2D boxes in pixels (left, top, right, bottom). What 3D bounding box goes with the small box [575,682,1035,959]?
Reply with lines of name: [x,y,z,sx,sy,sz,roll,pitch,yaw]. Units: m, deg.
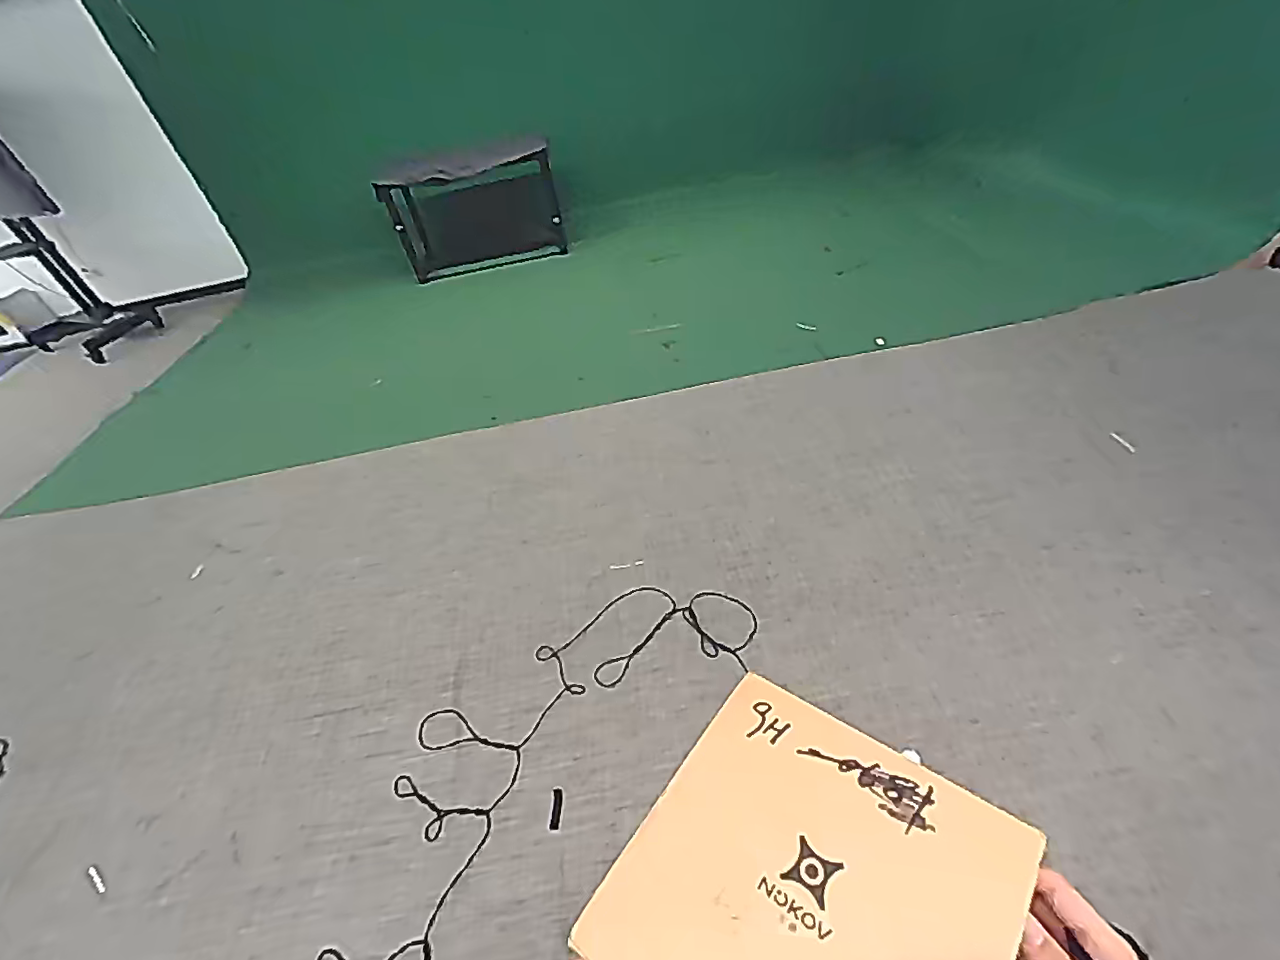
small box: [0.098,0.266,0.316,0.168,0.176,0.179,20,51,37]
